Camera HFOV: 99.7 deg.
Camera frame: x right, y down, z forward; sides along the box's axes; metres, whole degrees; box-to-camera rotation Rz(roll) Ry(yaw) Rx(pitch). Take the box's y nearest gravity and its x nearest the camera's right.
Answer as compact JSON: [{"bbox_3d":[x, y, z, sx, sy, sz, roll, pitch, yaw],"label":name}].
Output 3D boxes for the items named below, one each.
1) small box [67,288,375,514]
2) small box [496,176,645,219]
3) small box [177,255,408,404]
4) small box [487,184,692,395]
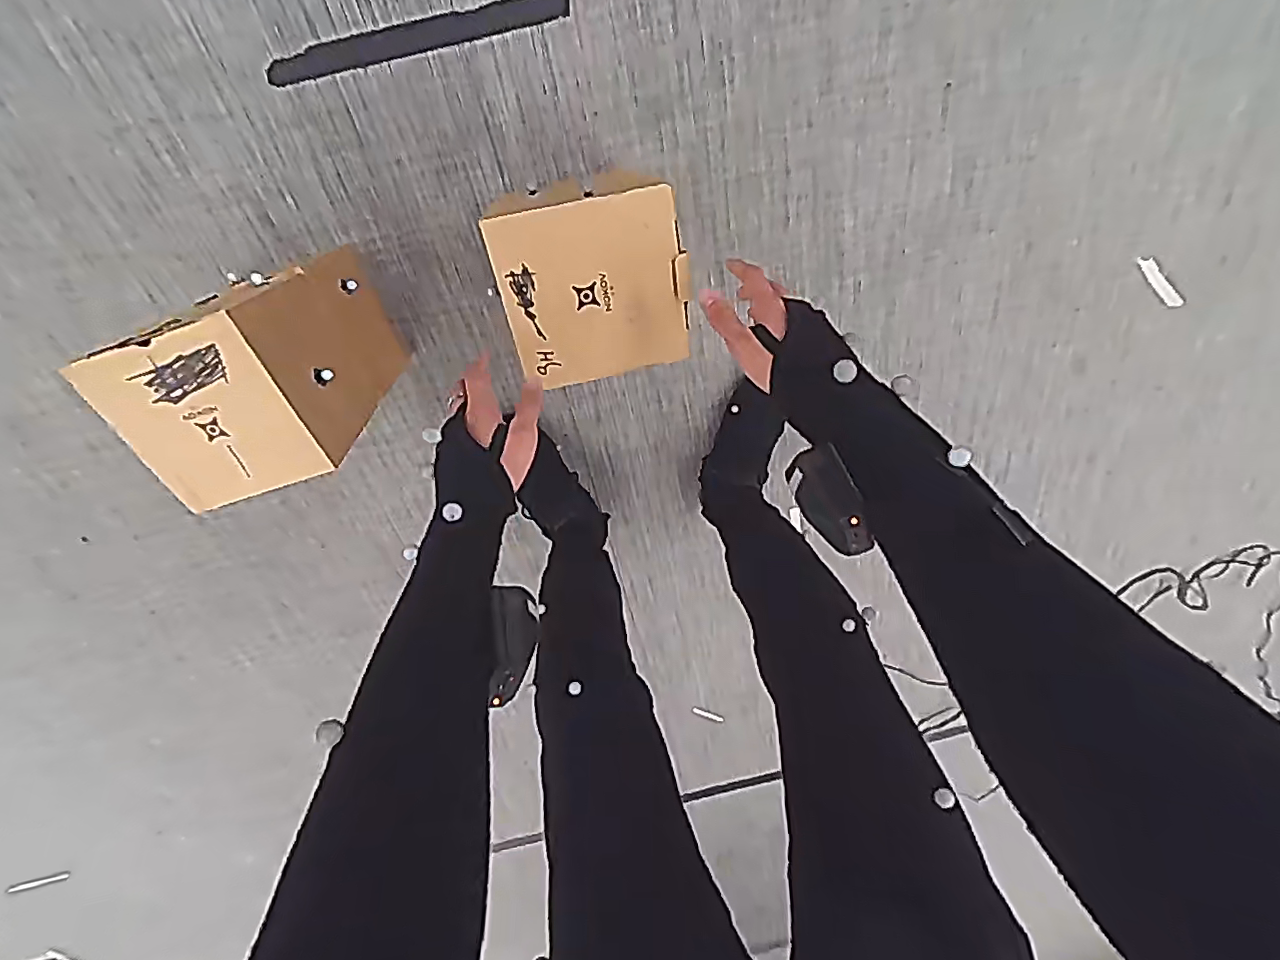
[{"bbox_3d":[-0.426,-0.096,0.593,0.168,0.176,0.179,-17,123,2],"label":"small box"},{"bbox_3d":[-0.078,-0.298,0.723,0.179,0.176,0.168,-13,123,-3],"label":"small box"},{"bbox_3d":[-0.443,-0.188,0.728,0.168,0.176,0.179,-18,123,2],"label":"small box"},{"bbox_3d":[-0.054,-0.213,0.584,0.179,0.176,0.168,-12,122,-3],"label":"small box"}]
